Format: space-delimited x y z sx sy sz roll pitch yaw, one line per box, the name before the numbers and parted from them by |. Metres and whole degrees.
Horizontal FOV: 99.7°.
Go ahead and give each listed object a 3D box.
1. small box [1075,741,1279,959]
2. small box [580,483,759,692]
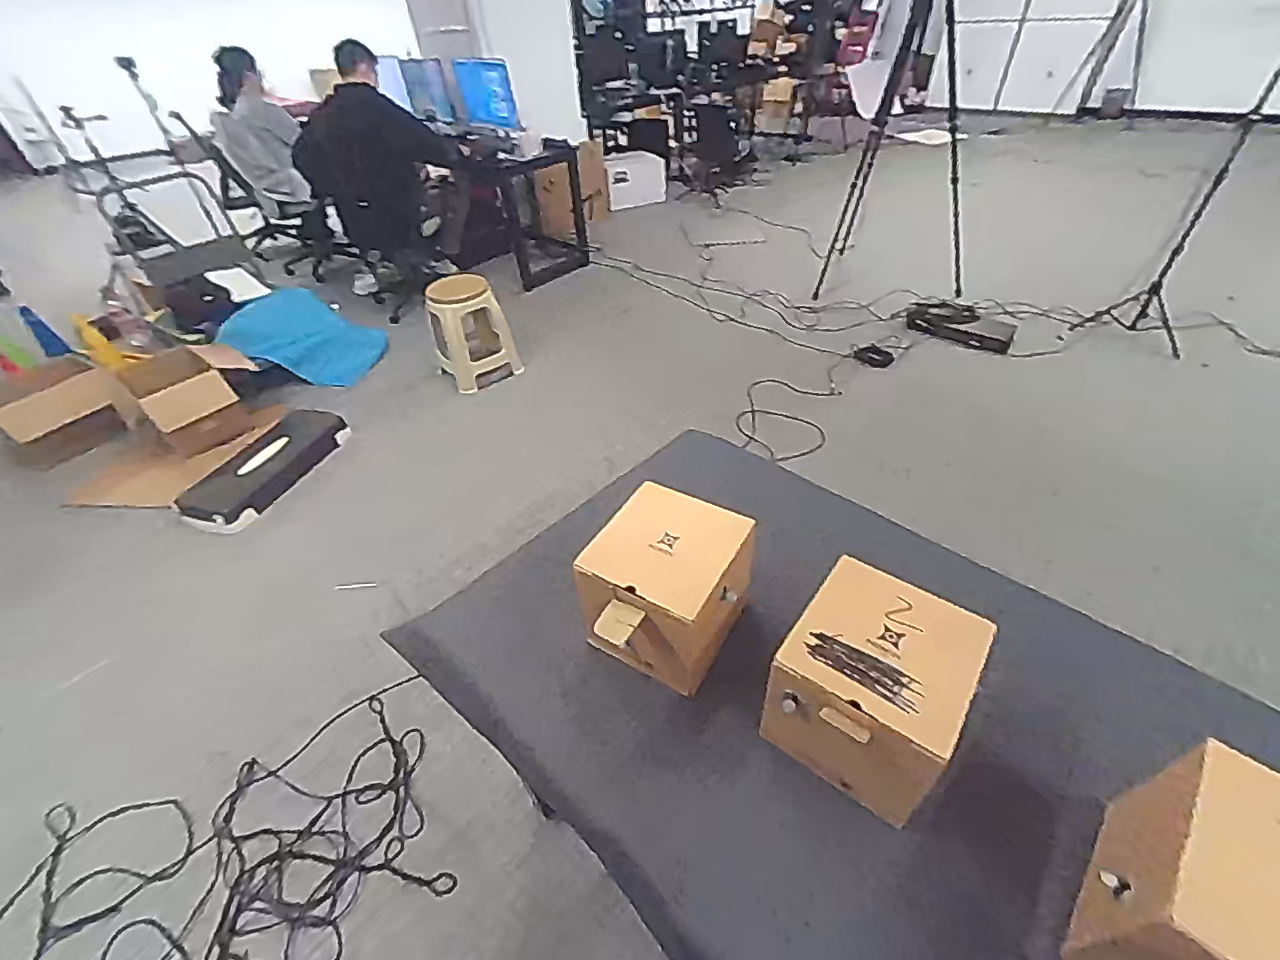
small box | 0.489 0.360 0.426 0.168 0.176 0.179 31 51 33
small box | 0.041 0.139 0.717 0.168 0.176 0.179 20 47 25
